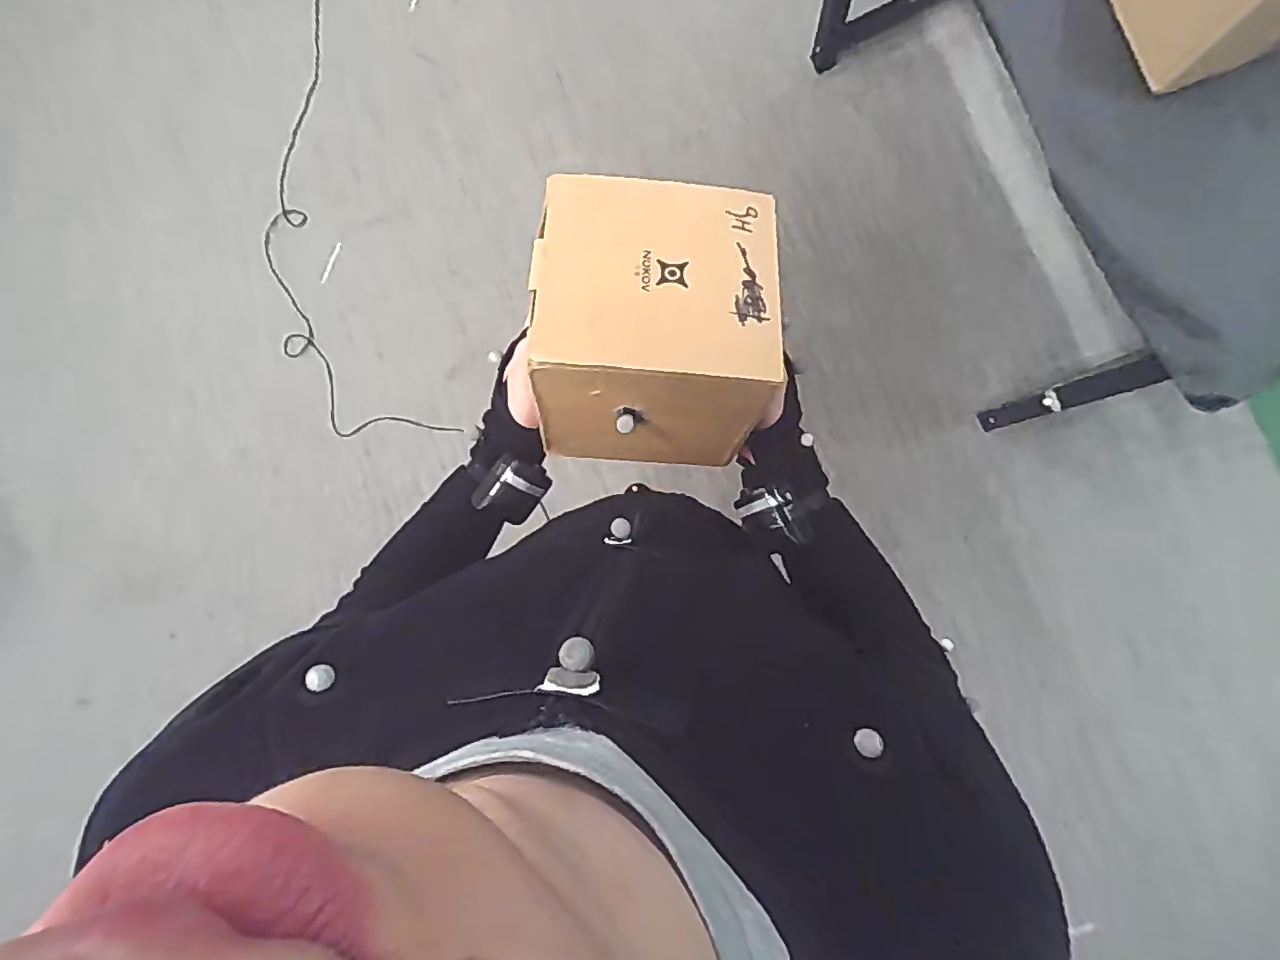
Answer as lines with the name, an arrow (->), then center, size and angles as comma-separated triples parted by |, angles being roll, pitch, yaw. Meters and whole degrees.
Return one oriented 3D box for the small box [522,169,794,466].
small box -> 0.010, -0.117, 0.442 | 0.179, 0.176, 0.168 | 3, 70, -3
